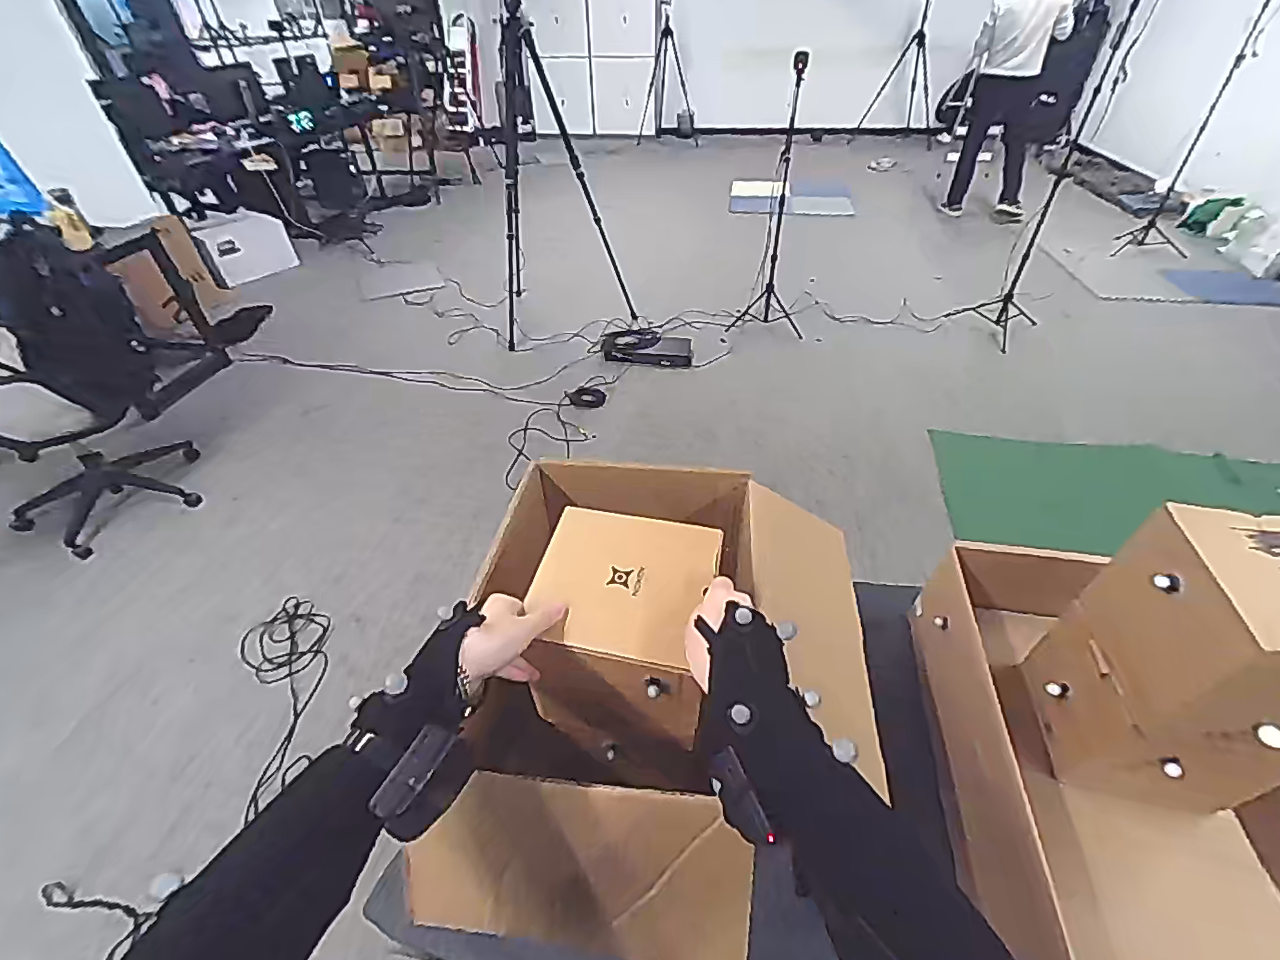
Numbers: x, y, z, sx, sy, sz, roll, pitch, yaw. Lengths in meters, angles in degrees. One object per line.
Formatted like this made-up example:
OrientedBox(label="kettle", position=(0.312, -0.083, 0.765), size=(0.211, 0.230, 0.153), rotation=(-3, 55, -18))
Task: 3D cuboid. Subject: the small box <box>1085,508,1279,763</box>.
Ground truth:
OrientedBox(label="small box", position=(0.606, 0.155, 0.547), size=(0.168, 0.176, 0.179), rotation=(7, 43, 10))
